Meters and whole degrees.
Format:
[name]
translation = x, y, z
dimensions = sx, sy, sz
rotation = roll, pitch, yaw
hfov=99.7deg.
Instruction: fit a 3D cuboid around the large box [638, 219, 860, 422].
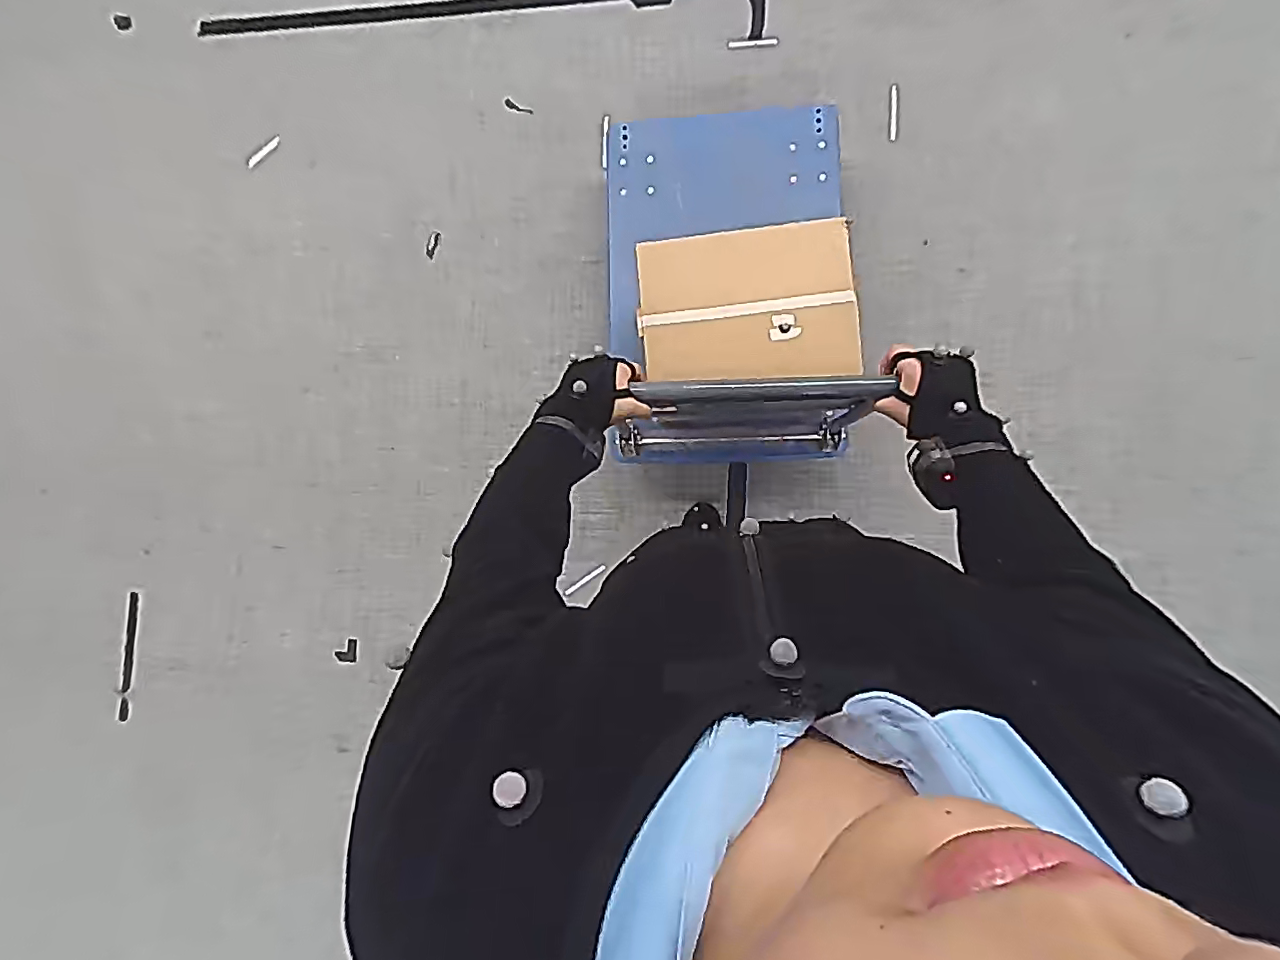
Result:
[large box]
translation = 0.217, -0.321, 1.191
dimensions = 0.408, 0.320, 0.320
rotation = -5, 88, 4
